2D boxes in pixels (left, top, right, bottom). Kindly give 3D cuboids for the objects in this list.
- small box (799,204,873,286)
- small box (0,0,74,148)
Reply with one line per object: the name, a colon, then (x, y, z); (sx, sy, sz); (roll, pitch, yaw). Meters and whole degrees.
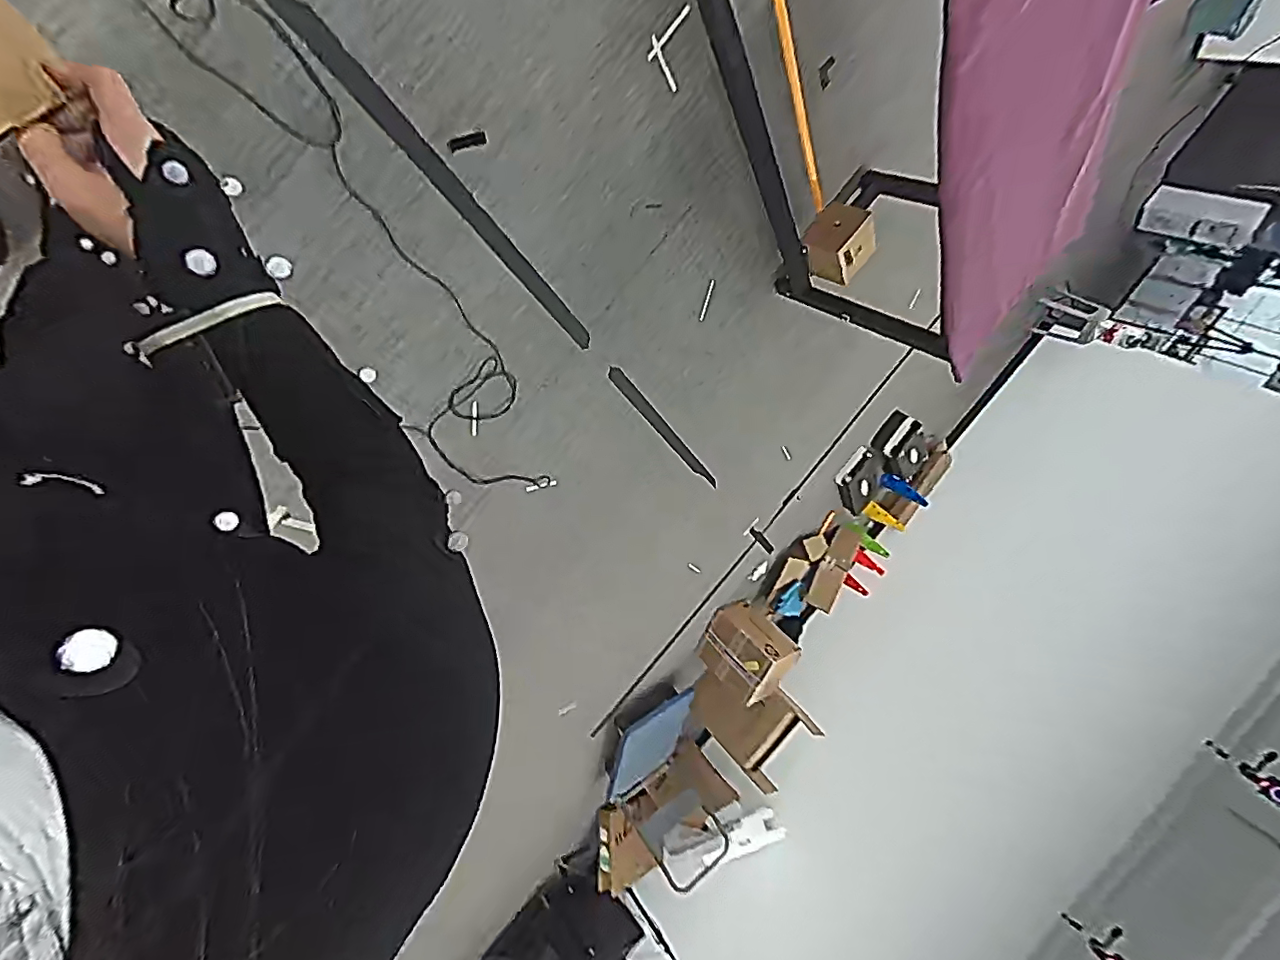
small box: (0.664, -0.806, 1.847); (0.179, 0.176, 0.168); (-50, 144, -1)
small box: (-0.442, -0.245, 0.256); (0.168, 0.176, 0.179); (-40, 149, -7)
